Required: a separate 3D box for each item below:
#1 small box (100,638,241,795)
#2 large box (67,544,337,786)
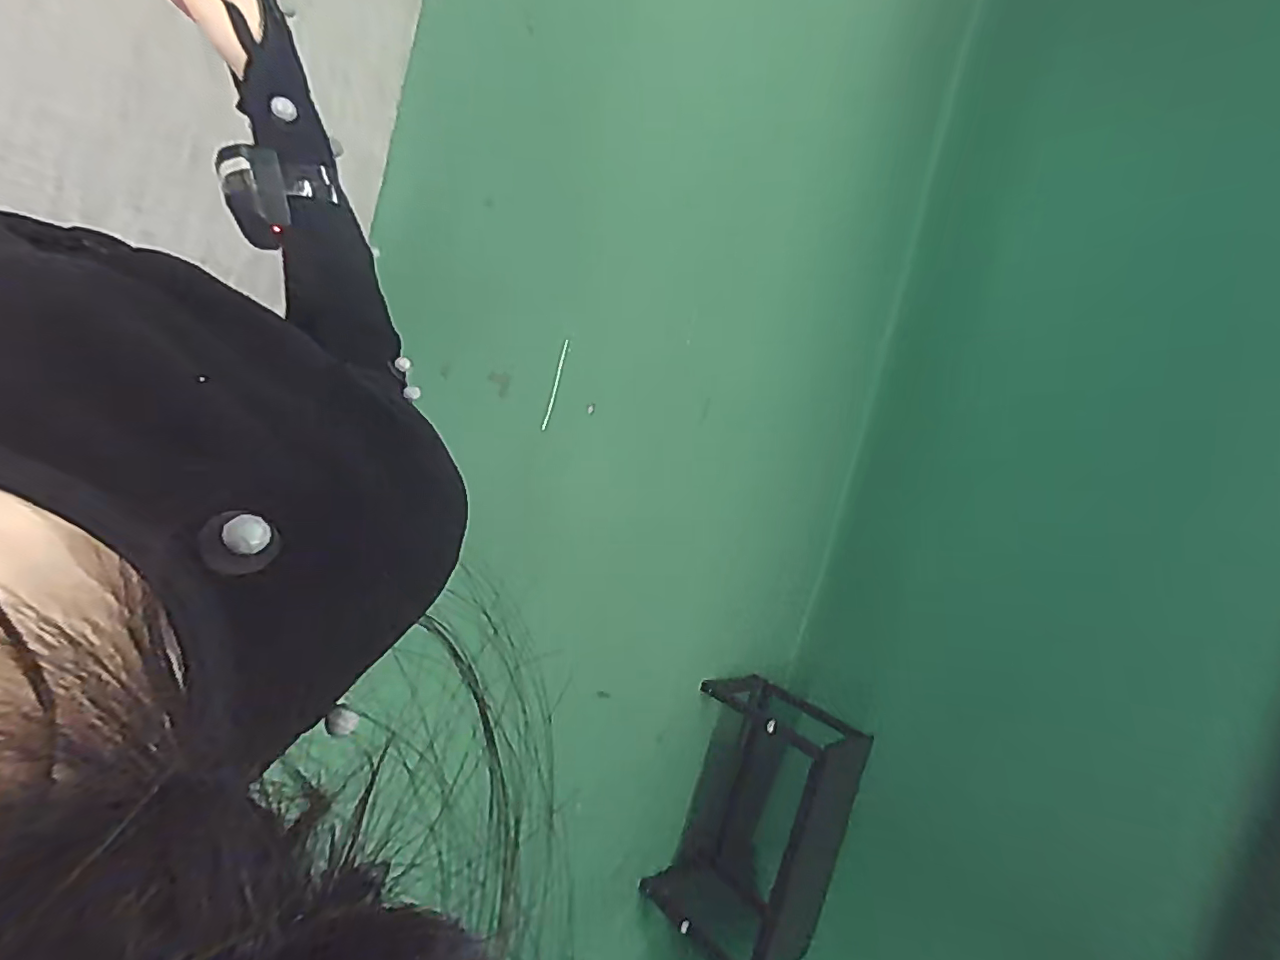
[{"bbox_3d":[-0.828,0.402,0.955,0.179,0.176,0.168,-2,103,-45],"label":"small box"},{"bbox_3d":[-0.942,0.360,1.186,0.408,0.320,0.320,-8,109,-45],"label":"large box"}]
